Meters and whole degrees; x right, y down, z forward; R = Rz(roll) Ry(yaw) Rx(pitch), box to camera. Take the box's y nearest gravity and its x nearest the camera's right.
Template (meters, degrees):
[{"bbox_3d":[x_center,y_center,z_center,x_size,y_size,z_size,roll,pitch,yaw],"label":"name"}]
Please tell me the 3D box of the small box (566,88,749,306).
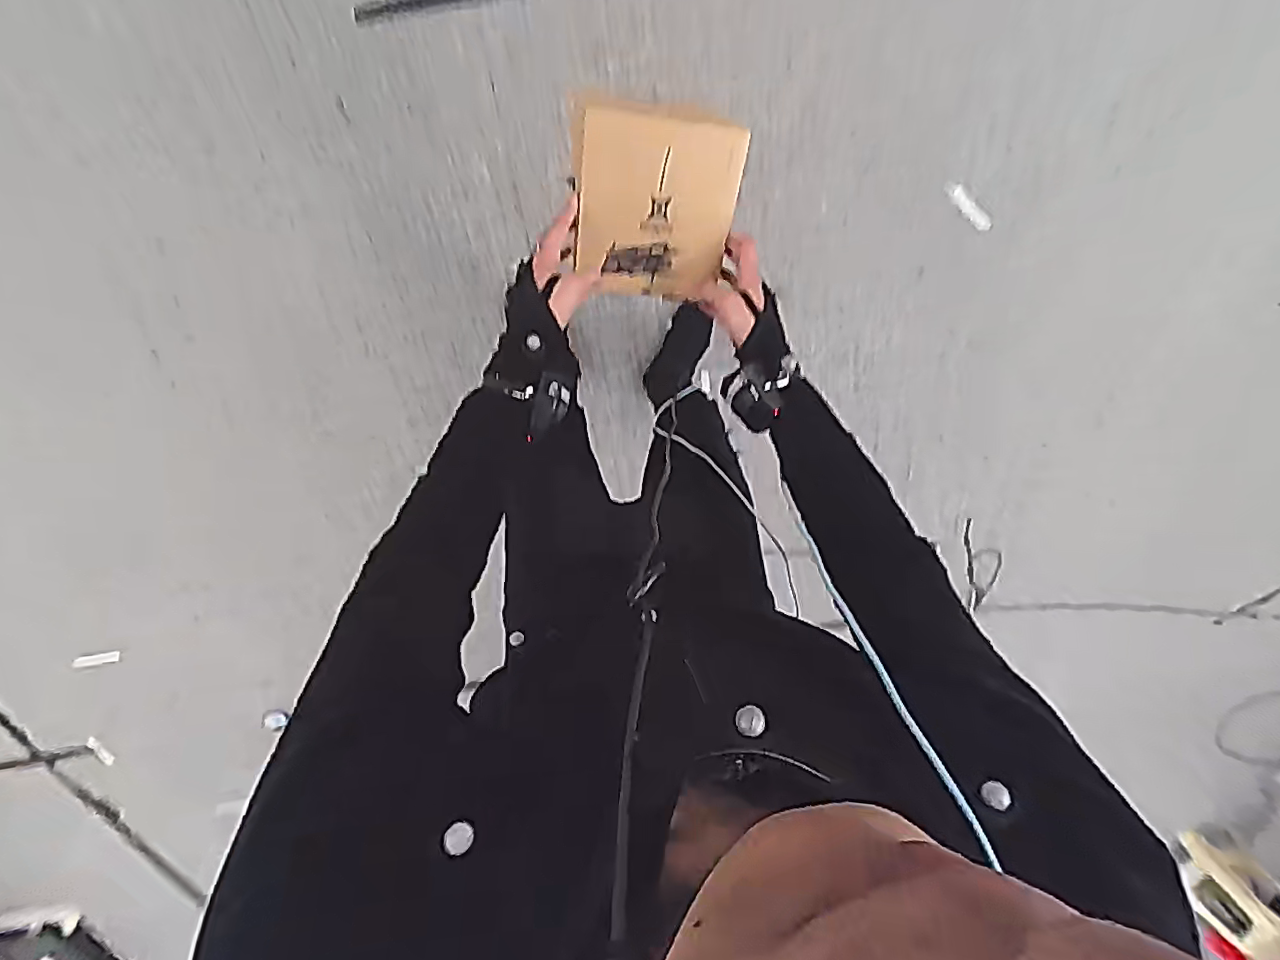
[{"bbox_3d":[0.004,-0.322,0.617,0.168,0.176,0.179,0,130,-11],"label":"small box"}]
